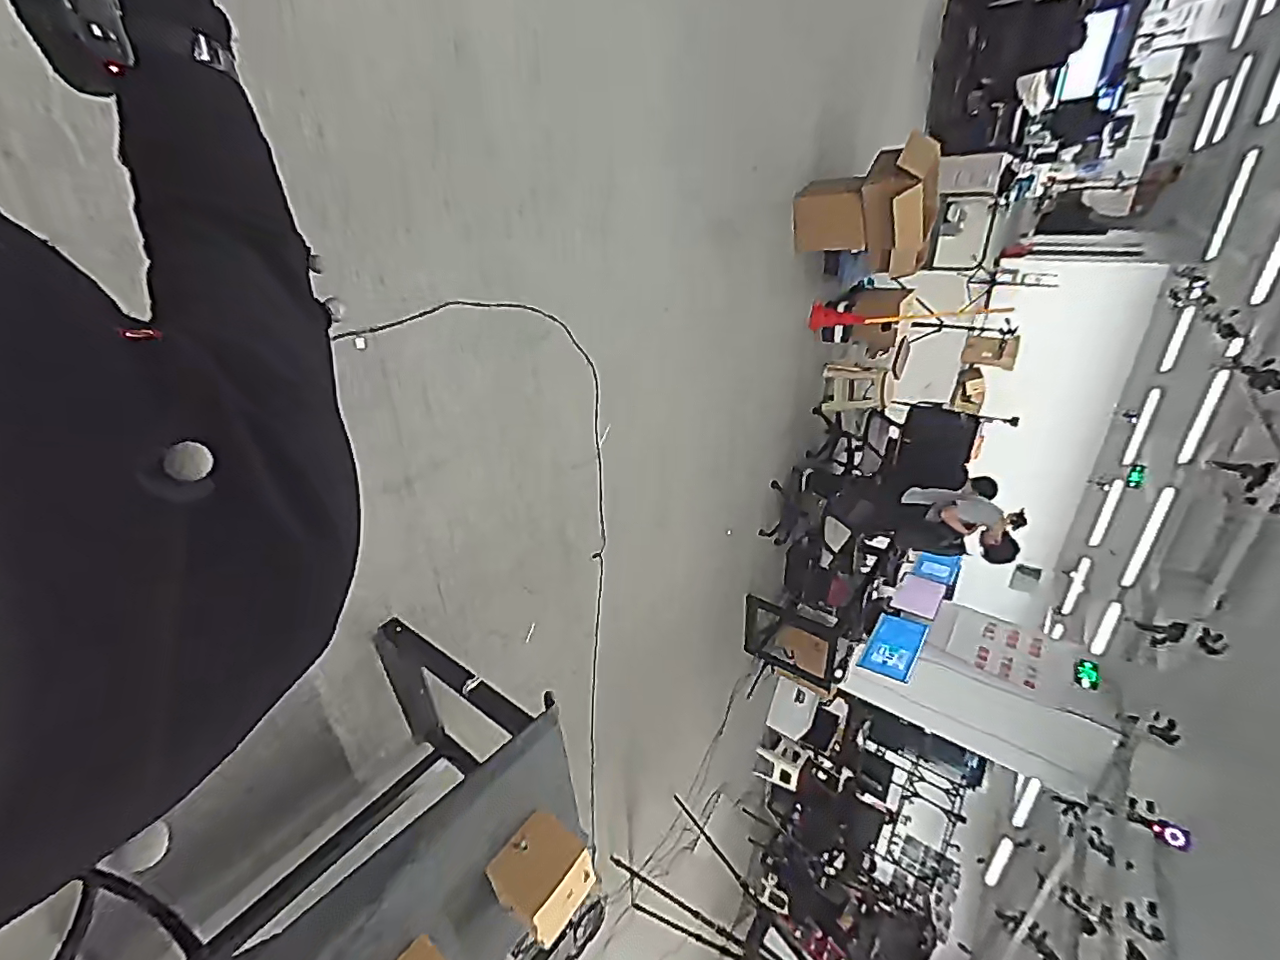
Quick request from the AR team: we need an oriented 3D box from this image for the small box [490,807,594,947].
[{"bbox_3d":[-0.238,0.945,1.300,0.179,0.176,0.168,-36,132,-41],"label":"small box"}]
